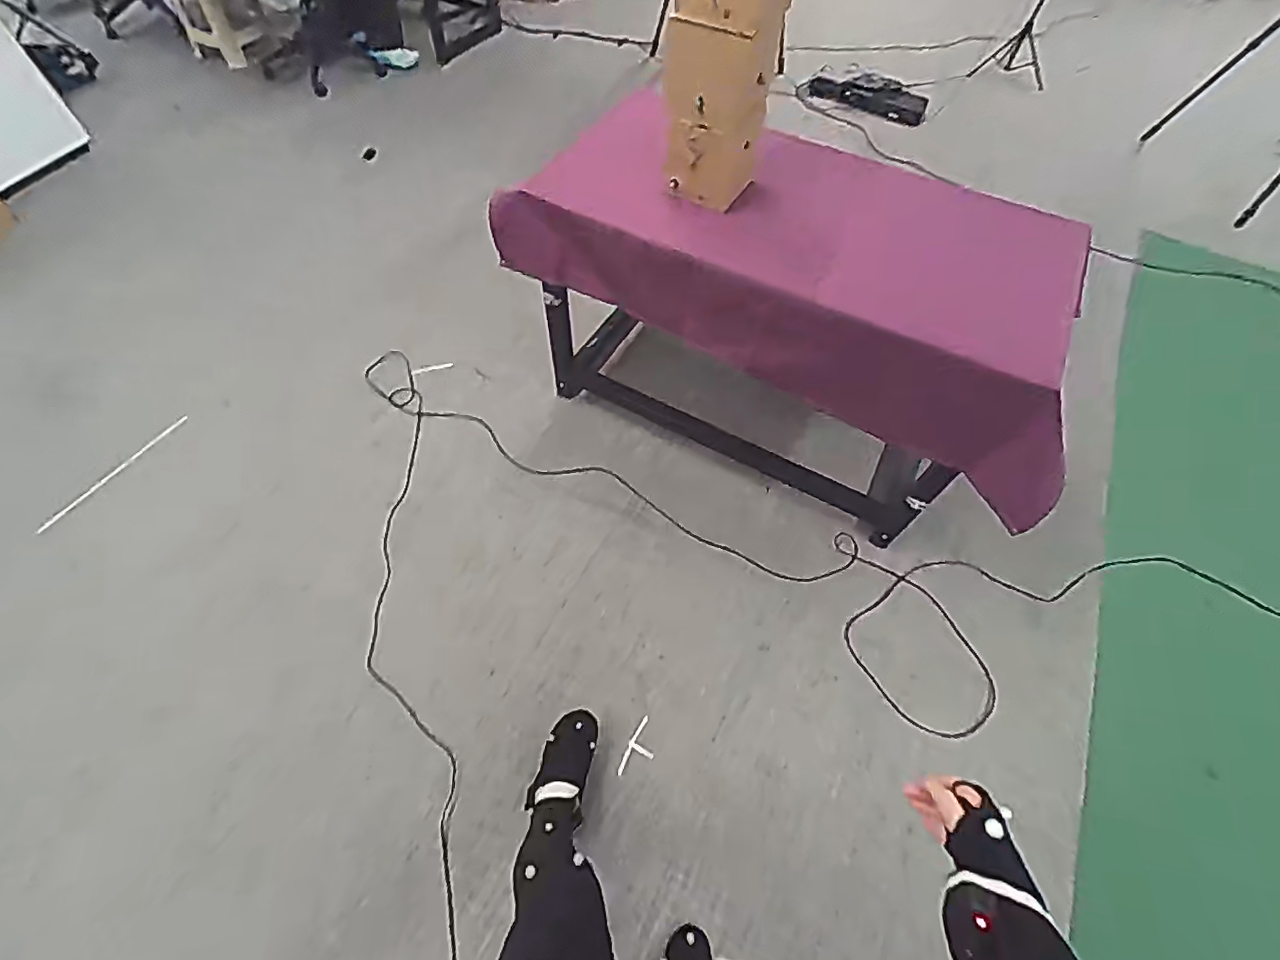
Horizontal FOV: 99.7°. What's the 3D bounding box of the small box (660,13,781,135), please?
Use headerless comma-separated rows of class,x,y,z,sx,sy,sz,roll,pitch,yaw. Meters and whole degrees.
small box,0.157,-0.838,1.099,0.179,0.176,0.168,28,61,14

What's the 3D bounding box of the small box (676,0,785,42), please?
small box,0.173,-0.924,0.960,0.168,0.176,0.179,26,61,14

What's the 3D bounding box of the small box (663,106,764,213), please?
small box,0.162,-0.747,1.236,0.168,0.176,0.179,26,60,13
